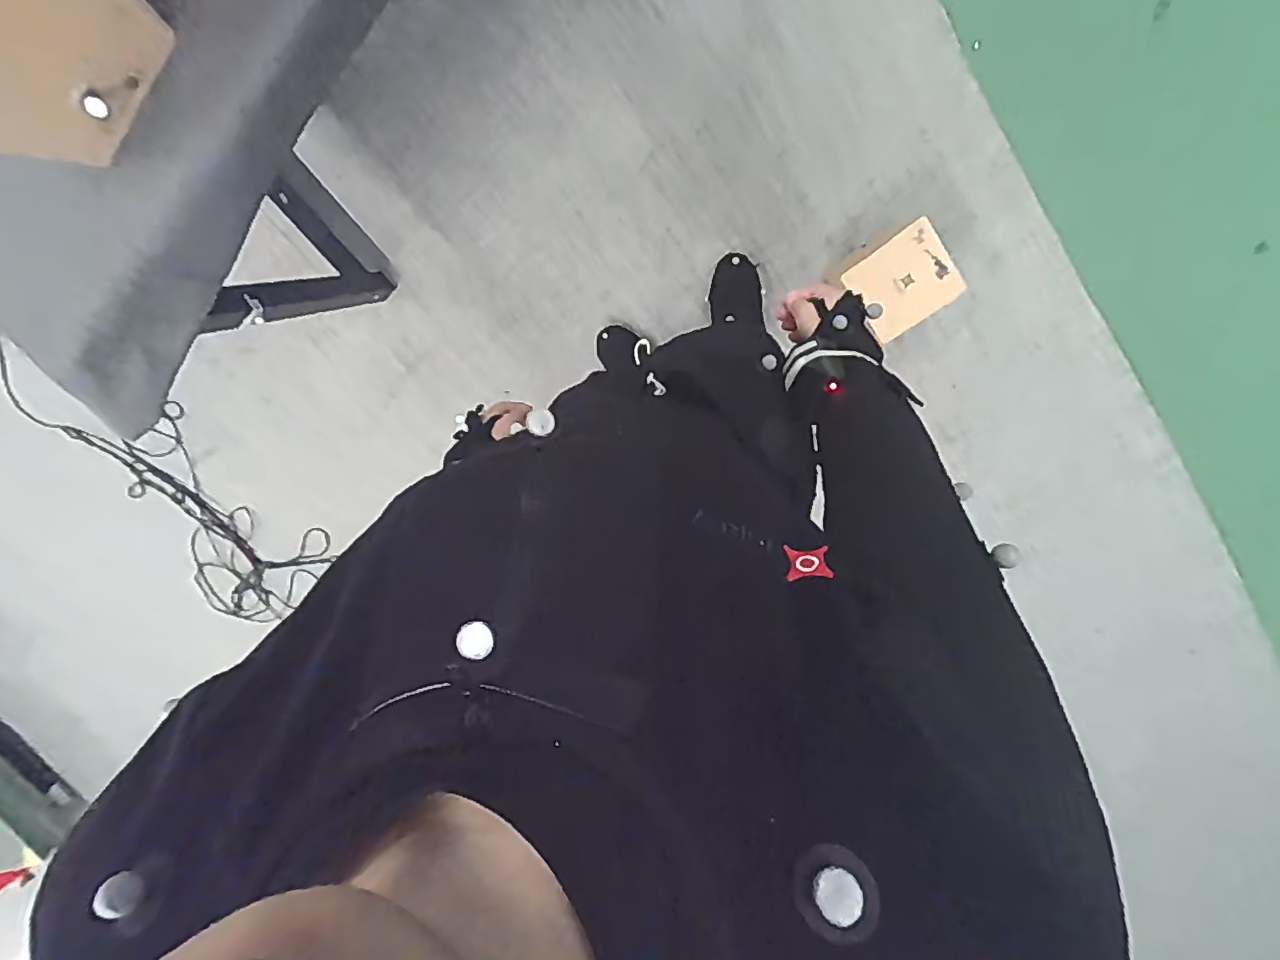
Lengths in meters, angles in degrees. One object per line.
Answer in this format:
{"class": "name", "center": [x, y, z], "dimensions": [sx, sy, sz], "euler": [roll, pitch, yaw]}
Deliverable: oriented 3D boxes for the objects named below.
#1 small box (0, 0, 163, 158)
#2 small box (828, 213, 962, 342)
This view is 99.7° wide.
{"class": "small box", "center": [-0.564, -0.399, 0.439], "dimensions": [0.168, 0.176, 0.179], "euler": [-37, 104, 21]}
{"class": "small box", "center": [0.499, -0.407, 1.089], "dimensions": [0.179, 0.176, 0.168], "euler": [-34, 105, 21]}
